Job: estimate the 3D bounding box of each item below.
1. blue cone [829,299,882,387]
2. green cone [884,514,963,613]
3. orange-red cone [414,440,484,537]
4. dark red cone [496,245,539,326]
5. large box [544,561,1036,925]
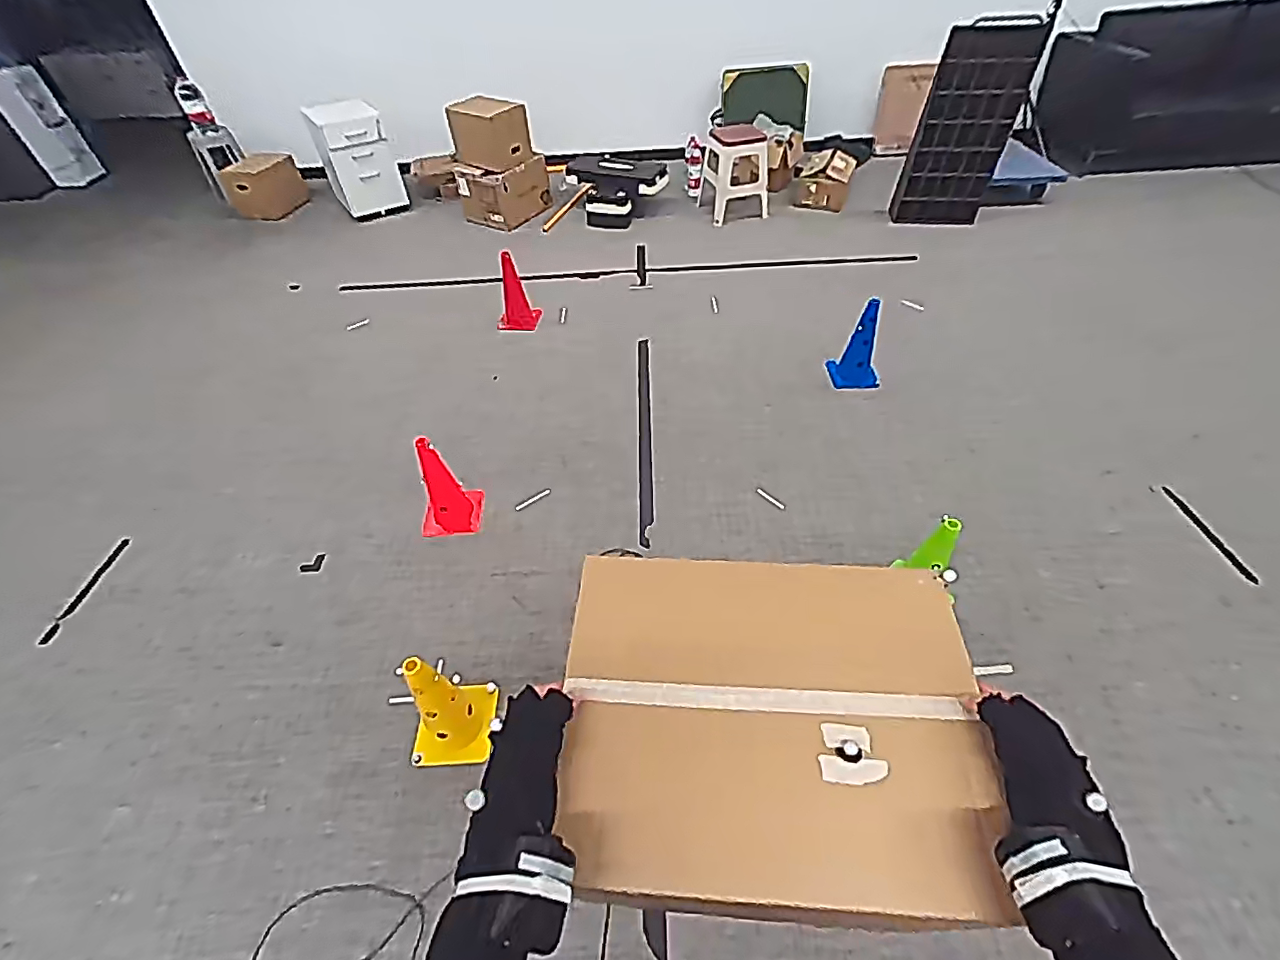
[{"bbox_3d":[0.943,-0.587,2.291,0.192,0.380,0.193,0,47,2],"label":"blue cone"},{"bbox_3d":[0.815,0.228,1.517,0.202,0.368,0.200,-31,53,-25],"label":"green cone"},{"bbox_3d":[-0.677,0.006,1.818,0.198,0.360,0.199,-5,48,0],"label":"orange-red cone"},{"bbox_3d":[-0.636,-0.963,2.684,0.201,0.394,0.202,2,47,4],"label":"dark red cone"},{"bbox_3d":[0.127,0.314,0.643,0.408,0.320,0.320,2,50,4],"label":"large box"}]
